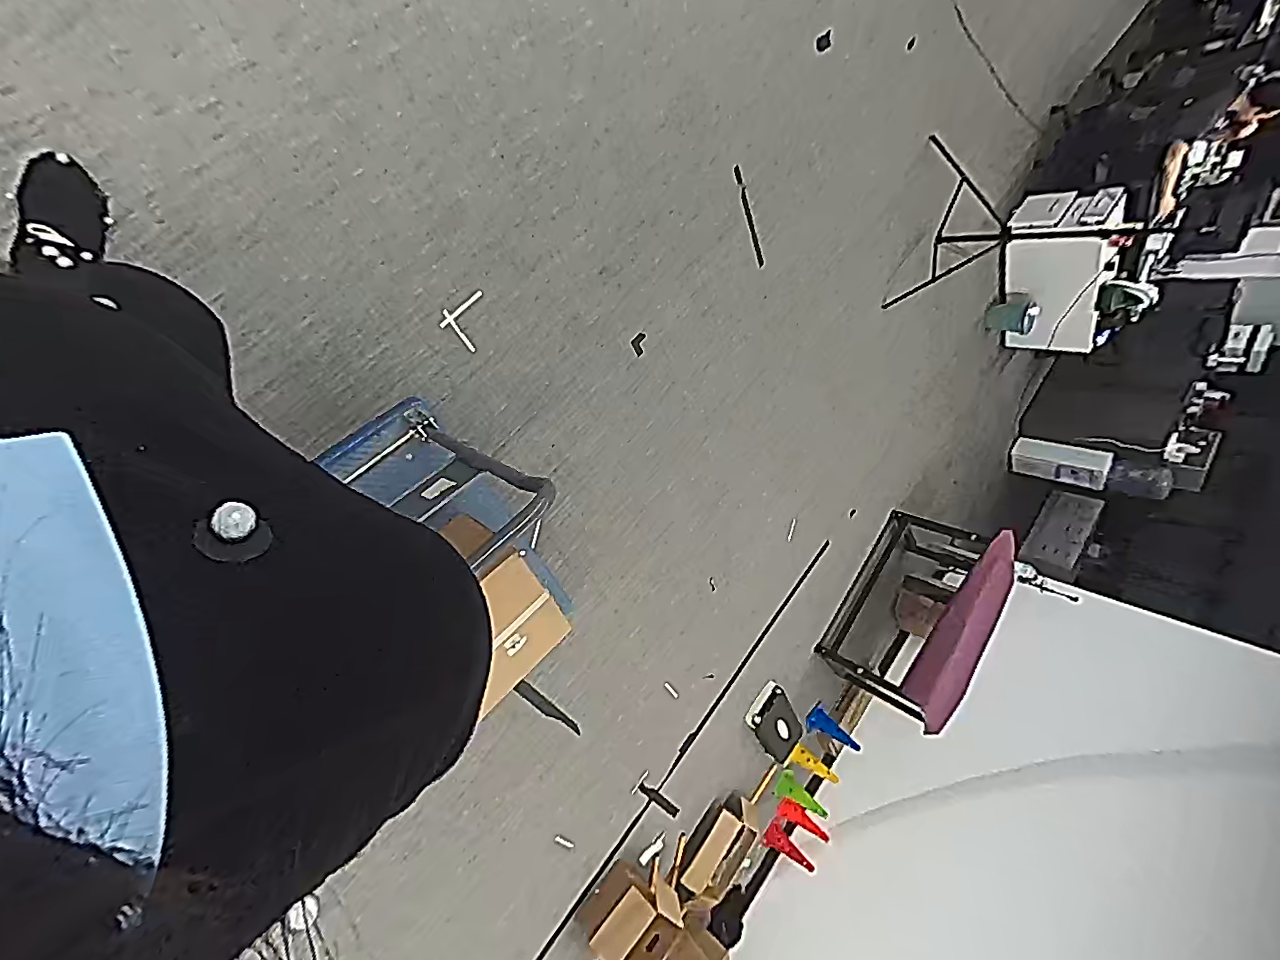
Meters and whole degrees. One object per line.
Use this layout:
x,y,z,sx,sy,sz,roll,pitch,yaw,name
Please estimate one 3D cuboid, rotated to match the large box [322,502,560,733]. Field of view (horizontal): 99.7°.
-0.490,0.325,1.360,0.408,0.320,0.320,-44,131,-24,large box
